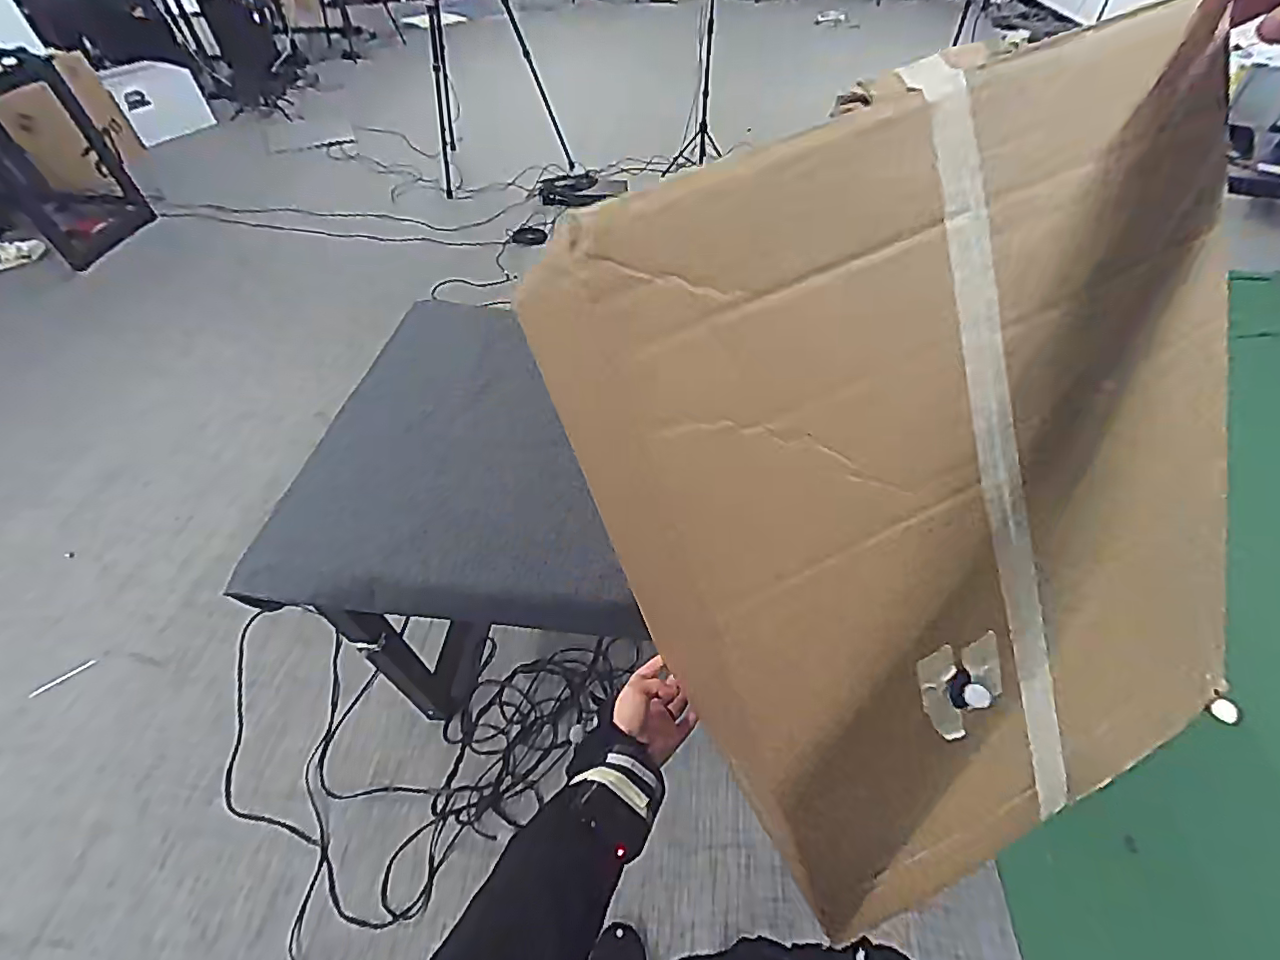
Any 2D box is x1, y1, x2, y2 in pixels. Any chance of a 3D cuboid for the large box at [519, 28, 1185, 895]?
[{"bbox_3d":[0.141,-0.013,0.429,0.320,0.408,0.320,-26,21,-10],"label":"large box"}]
